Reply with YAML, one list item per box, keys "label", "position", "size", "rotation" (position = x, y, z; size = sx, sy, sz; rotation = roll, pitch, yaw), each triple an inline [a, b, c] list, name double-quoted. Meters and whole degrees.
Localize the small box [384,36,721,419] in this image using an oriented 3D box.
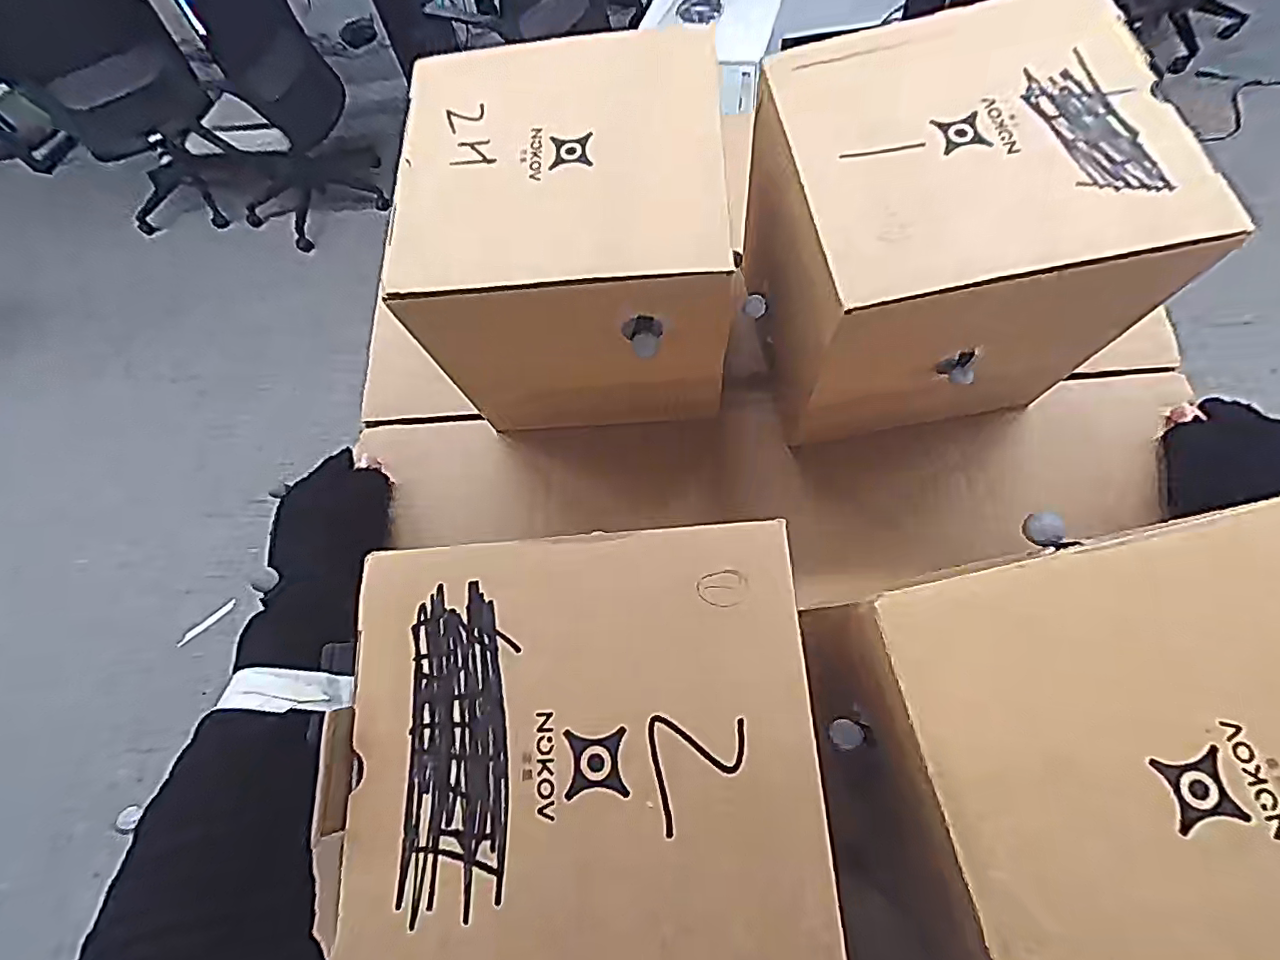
- label: "small box"
  position: [-0.039, -0.151, 0.372]
  size: [0.179, 0.176, 0.168]
  rotation: [-2, 72, 6]
